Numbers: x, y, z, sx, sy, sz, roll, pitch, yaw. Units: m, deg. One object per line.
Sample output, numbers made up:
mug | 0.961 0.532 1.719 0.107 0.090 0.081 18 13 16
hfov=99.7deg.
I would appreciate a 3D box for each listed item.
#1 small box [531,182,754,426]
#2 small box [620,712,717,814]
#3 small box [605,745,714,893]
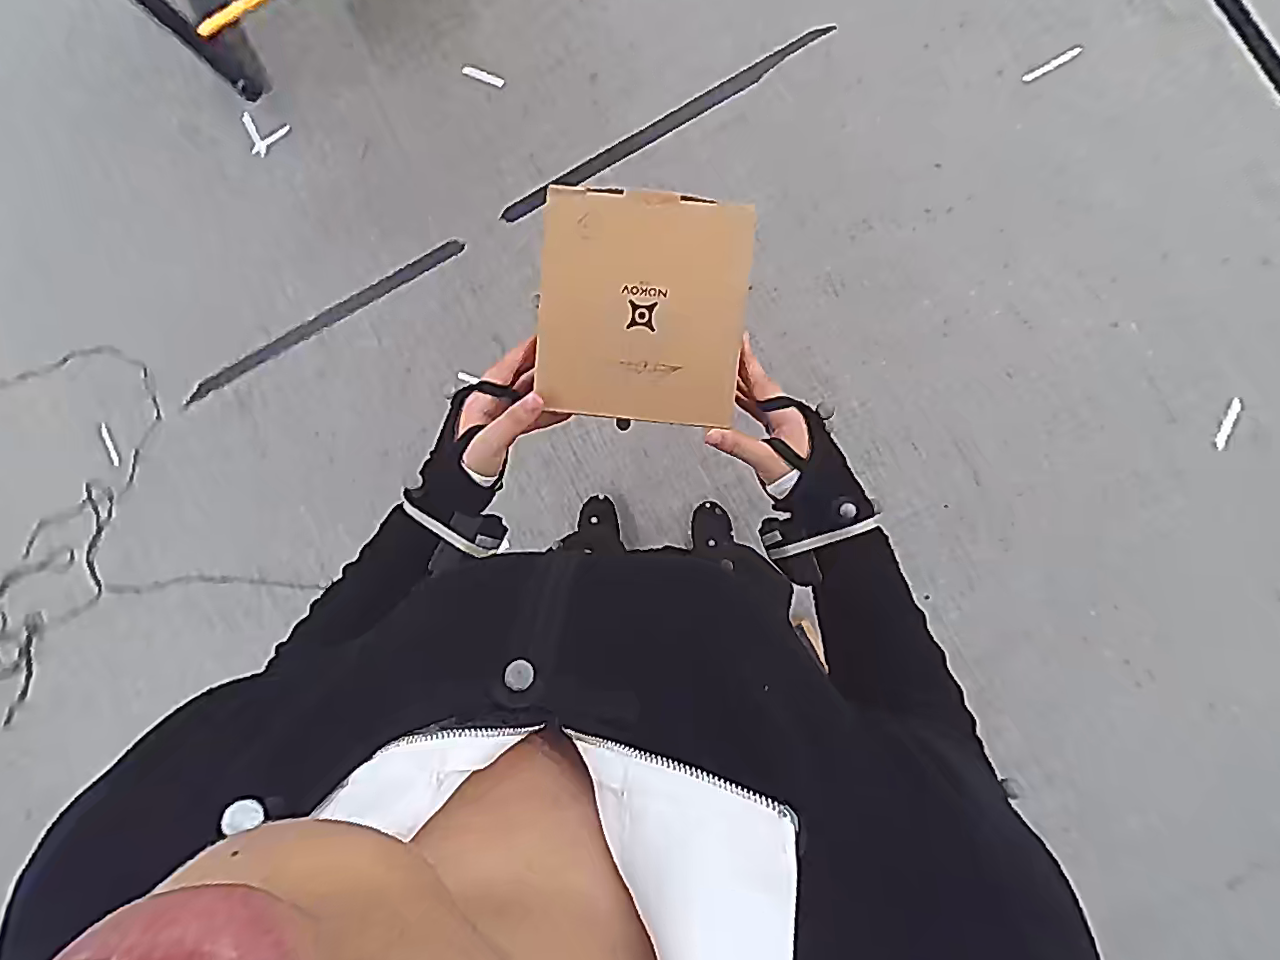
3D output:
small box | 0.001 -0.149 0.509 0.168 0.176 0.179 6 99 1
small box | 0.074 0.693 1.288 0.168 0.176 0.179 -28 86 5
small box | 0.047 0.695 1.126 0.168 0.176 0.179 -25 86 5
